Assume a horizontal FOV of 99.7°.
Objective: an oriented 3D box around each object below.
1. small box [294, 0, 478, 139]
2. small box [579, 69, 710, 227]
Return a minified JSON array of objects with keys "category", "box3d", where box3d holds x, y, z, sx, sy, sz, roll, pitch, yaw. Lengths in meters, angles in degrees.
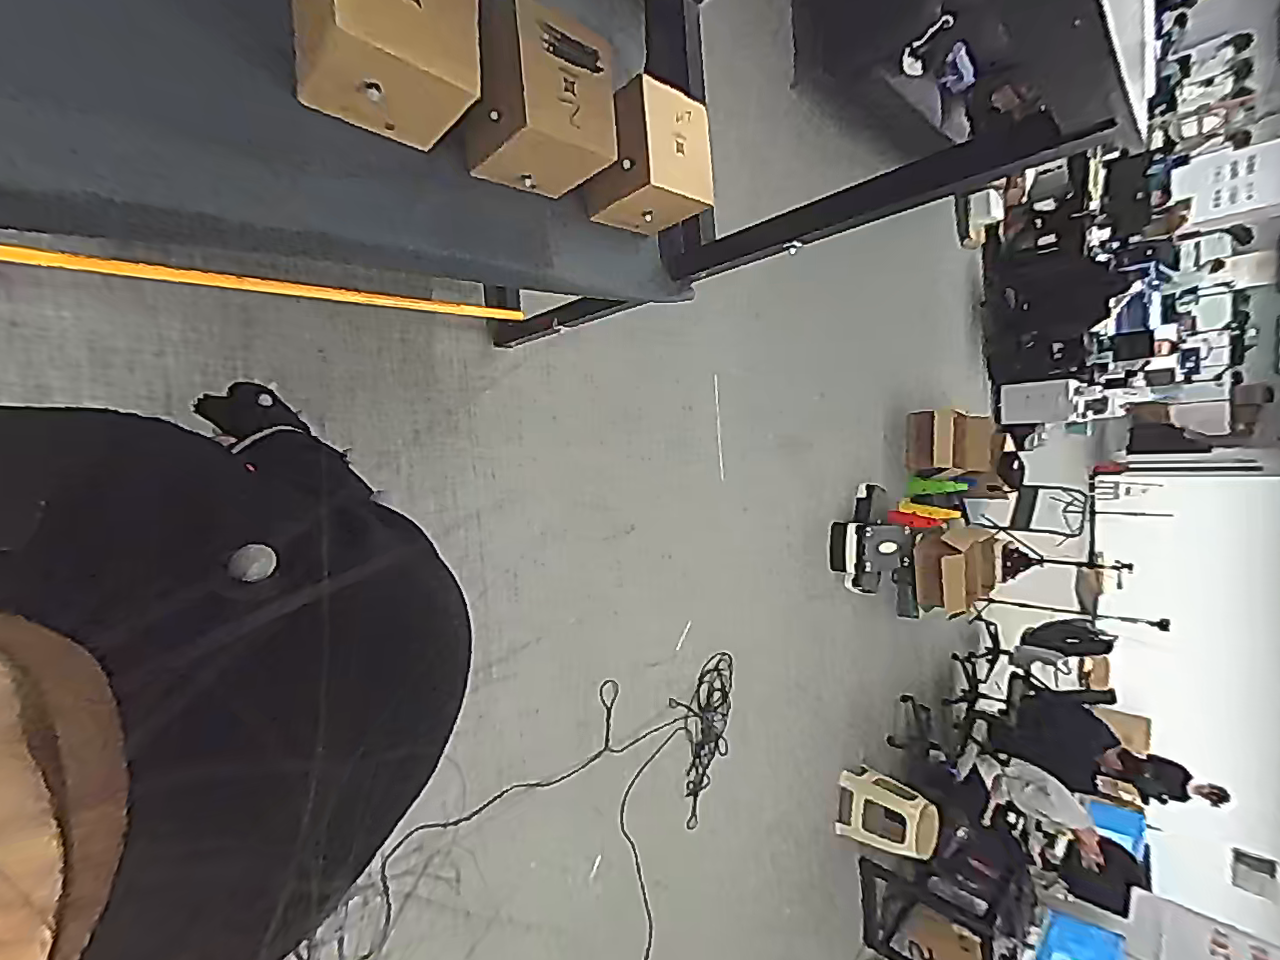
[{"category":"small box","box3d":[-0.318,-0.570,0.674,0.168,0.176,0.179,-3,93,-44]},{"category":"small box","box3d":[0.006,-0.584,0.984,0.168,0.176,0.179,-10,98,-44]}]
